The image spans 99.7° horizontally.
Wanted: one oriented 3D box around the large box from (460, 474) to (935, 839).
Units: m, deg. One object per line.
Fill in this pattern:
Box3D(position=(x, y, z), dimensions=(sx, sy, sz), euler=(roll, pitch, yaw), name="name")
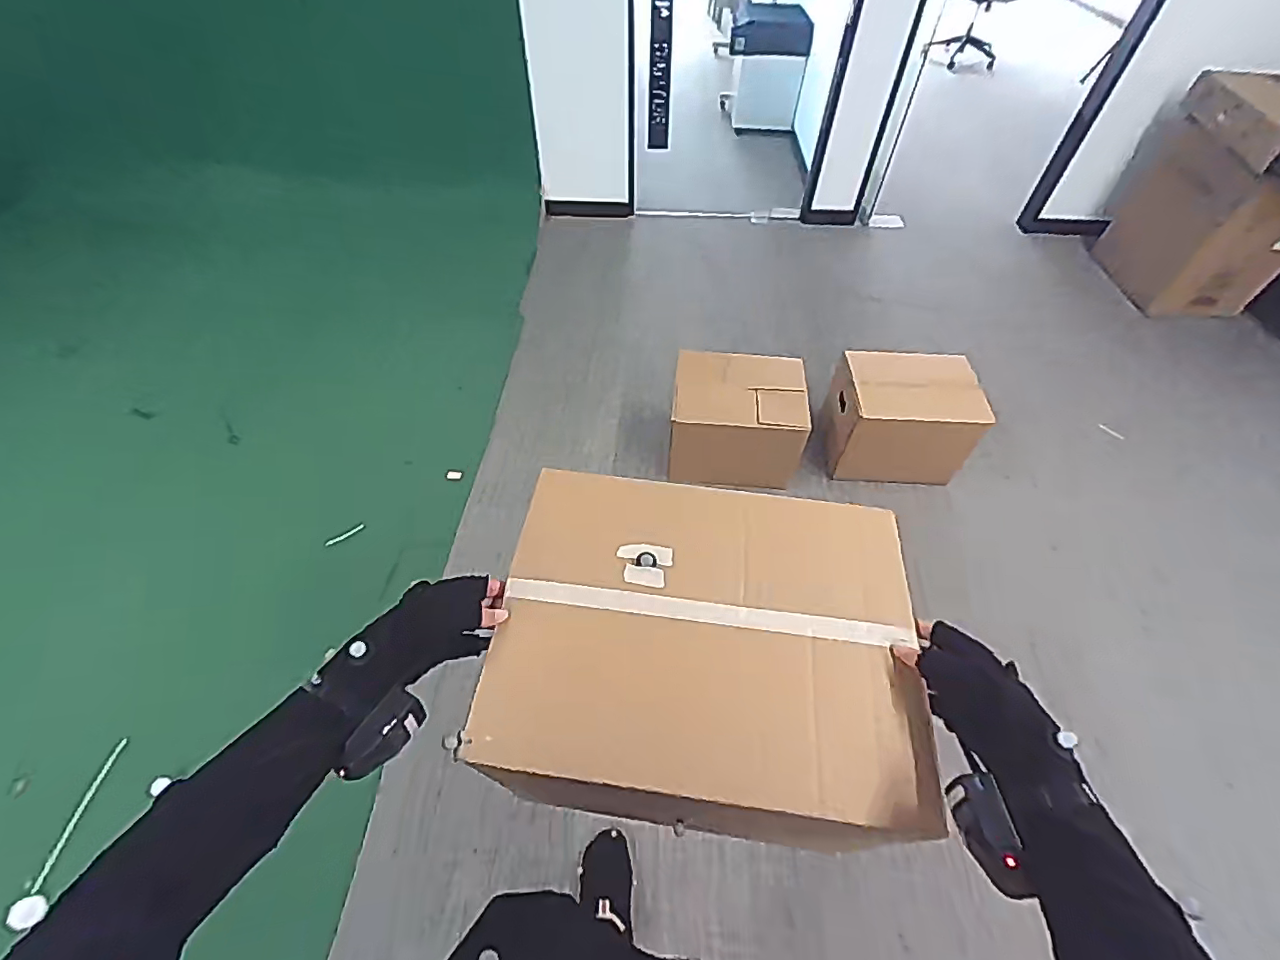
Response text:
Box3D(position=(0.063, 0.222, 0.654), dimensions=(0.408, 0.320, 0.320), euler=(7, 53, 5), name="large box")
